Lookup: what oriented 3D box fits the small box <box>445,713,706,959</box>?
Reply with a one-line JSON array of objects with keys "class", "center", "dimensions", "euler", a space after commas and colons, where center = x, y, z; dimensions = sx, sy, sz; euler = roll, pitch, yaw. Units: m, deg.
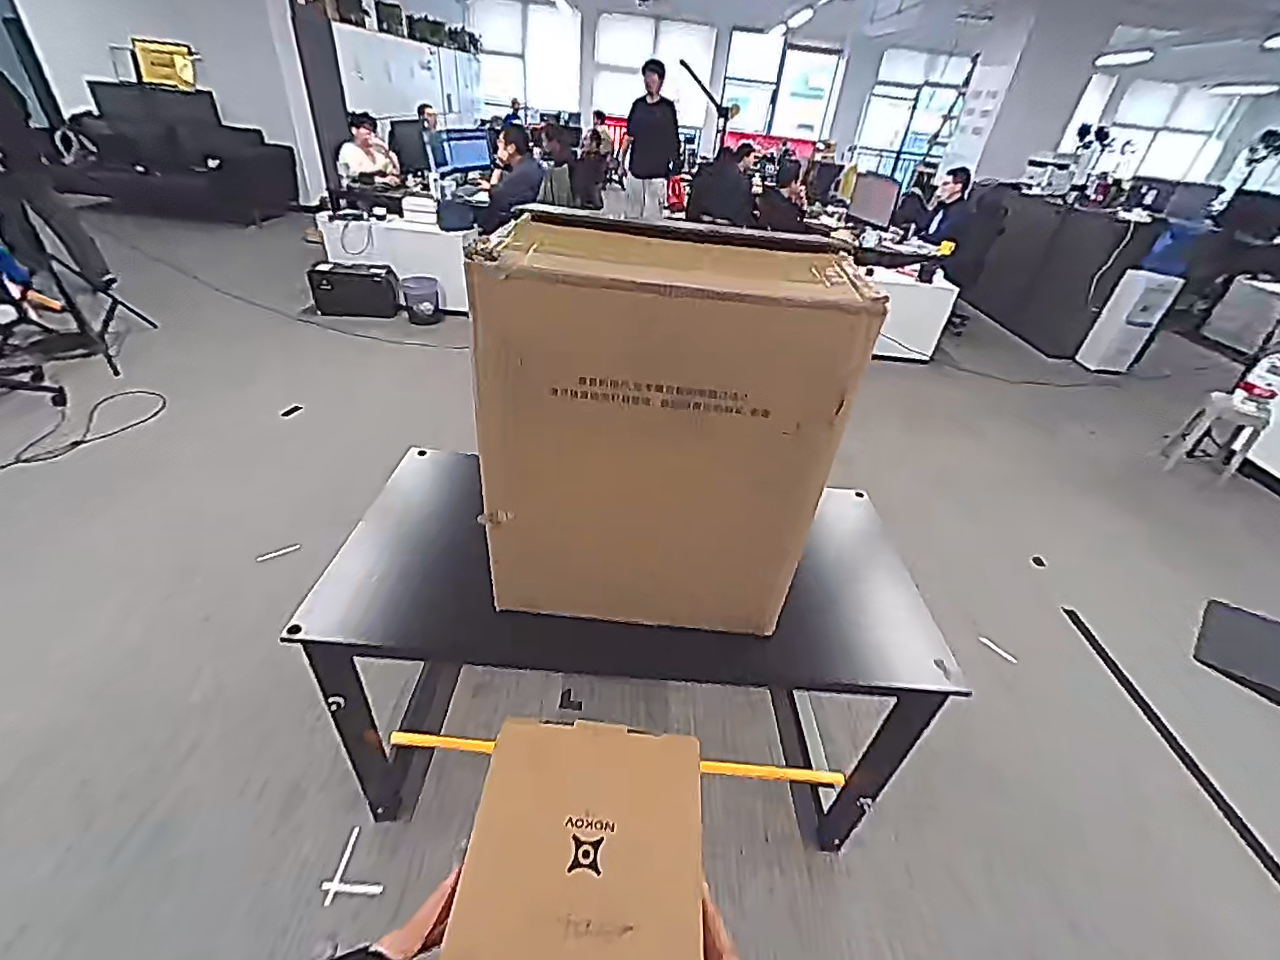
[{"class": "small box", "center": [-0.042, 0.320, 0.439], "dimensions": [0.168, 0.176, 0.179], "euler": [6, 40, 0]}]
